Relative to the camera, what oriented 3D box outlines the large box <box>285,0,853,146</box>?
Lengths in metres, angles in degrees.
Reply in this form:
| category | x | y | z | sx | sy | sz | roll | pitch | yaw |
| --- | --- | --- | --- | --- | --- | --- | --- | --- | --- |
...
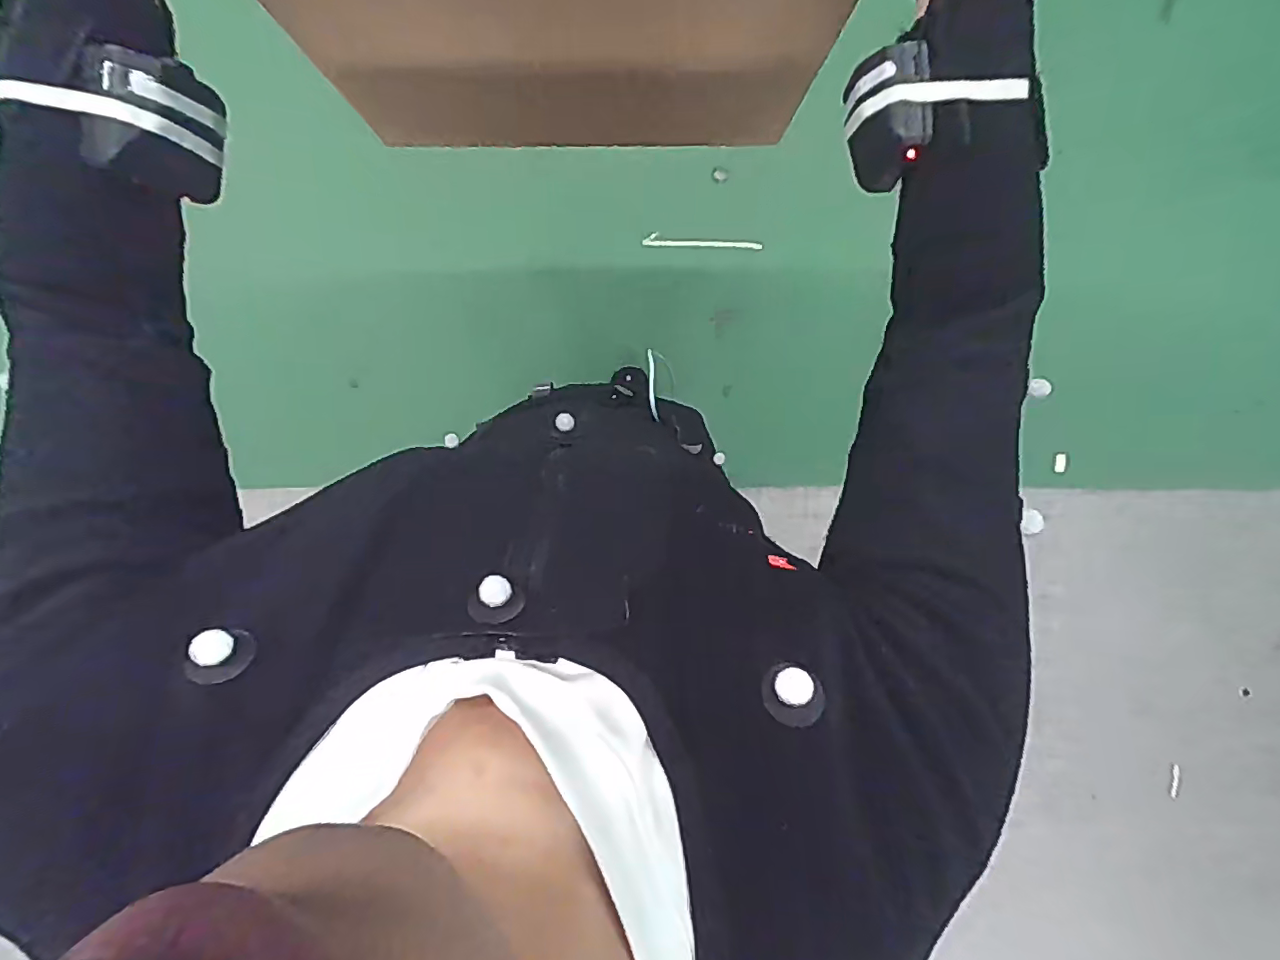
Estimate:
| category | x | y | z | sx | sy | sz | roll | pitch | yaw |
| --- | --- | --- | --- | --- | --- | --- | --- | --- | --- |
| large box | -0.052 | -0.481 | 0.392 | 0.408 | 0.320 | 0.320 | -2 | 98 | -2 |
